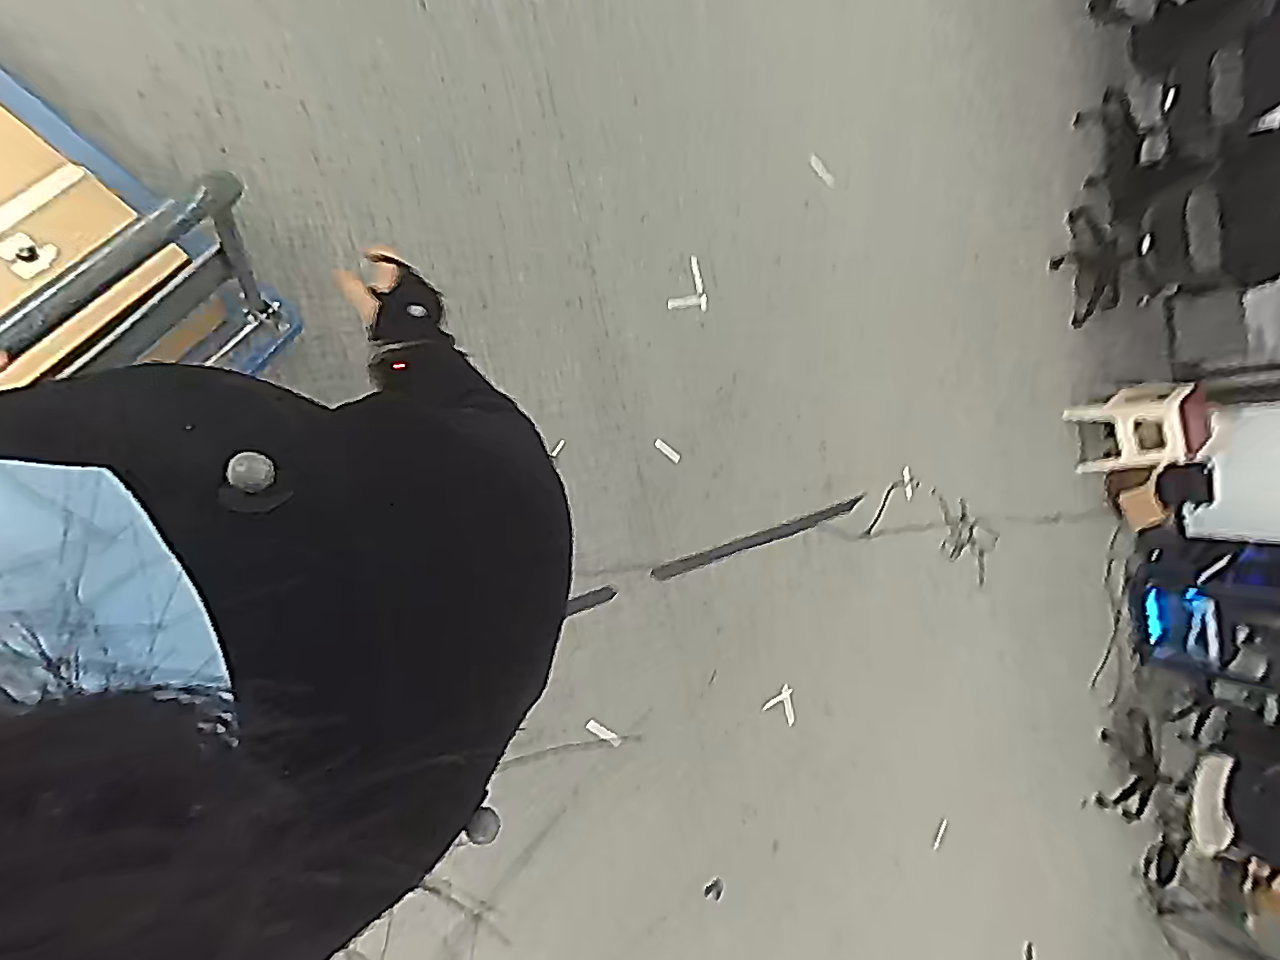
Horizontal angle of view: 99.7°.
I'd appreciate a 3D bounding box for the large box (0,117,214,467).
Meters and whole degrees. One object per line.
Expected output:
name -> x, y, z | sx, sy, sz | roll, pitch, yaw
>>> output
large box -> -0.976, -0.271, 0.823 | 0.320, 0.320, 0.408 | 44, 69, -22
